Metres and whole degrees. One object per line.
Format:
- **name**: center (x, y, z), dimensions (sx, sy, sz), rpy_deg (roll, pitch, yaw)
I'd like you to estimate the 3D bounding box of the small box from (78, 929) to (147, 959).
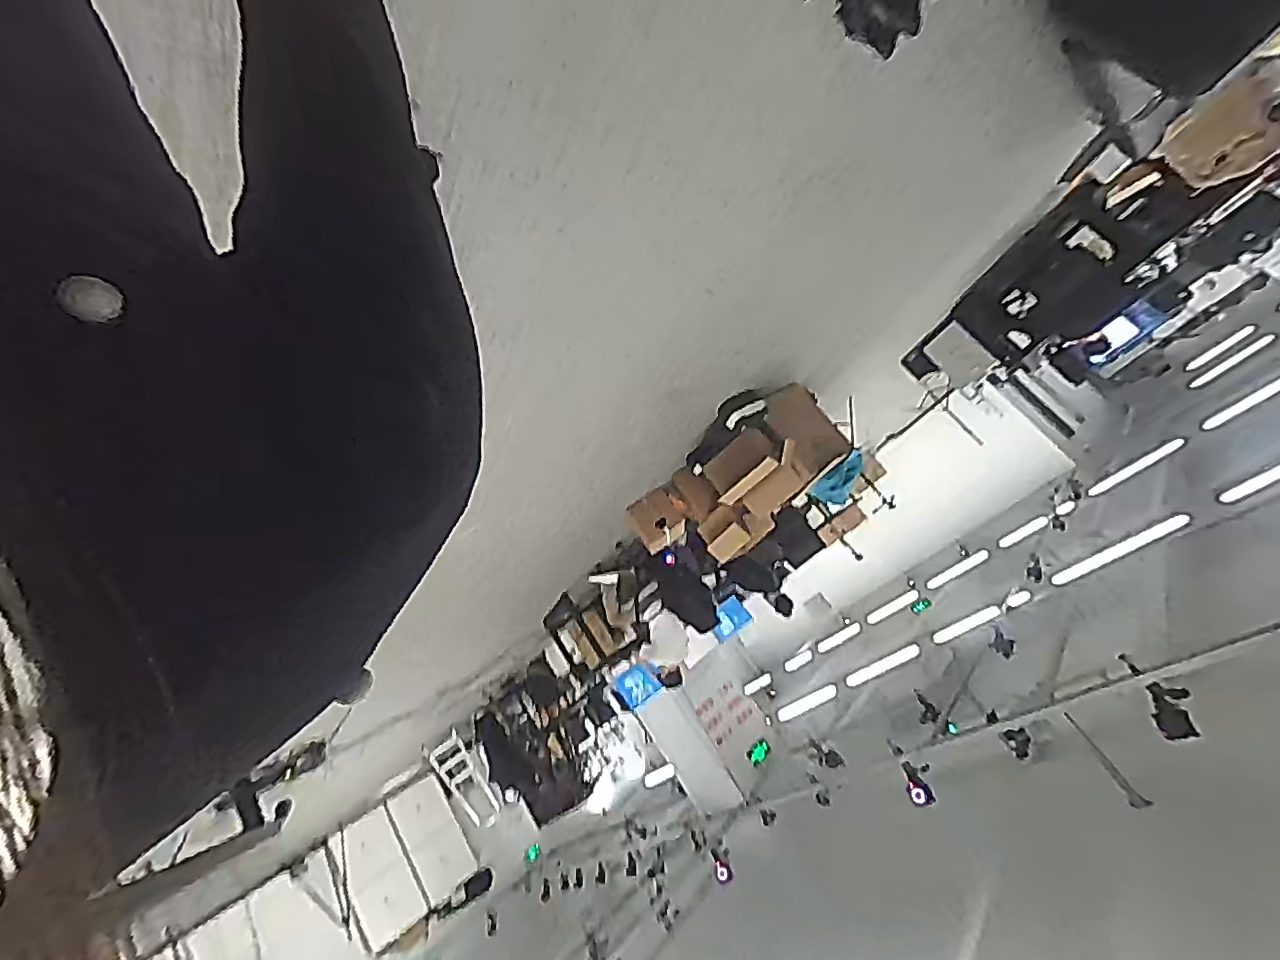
- **small box**: center (-1.526, 1.429, 1.538), dimensions (0.179, 0.176, 0.168), rpy_deg (-19, 155, -45)
